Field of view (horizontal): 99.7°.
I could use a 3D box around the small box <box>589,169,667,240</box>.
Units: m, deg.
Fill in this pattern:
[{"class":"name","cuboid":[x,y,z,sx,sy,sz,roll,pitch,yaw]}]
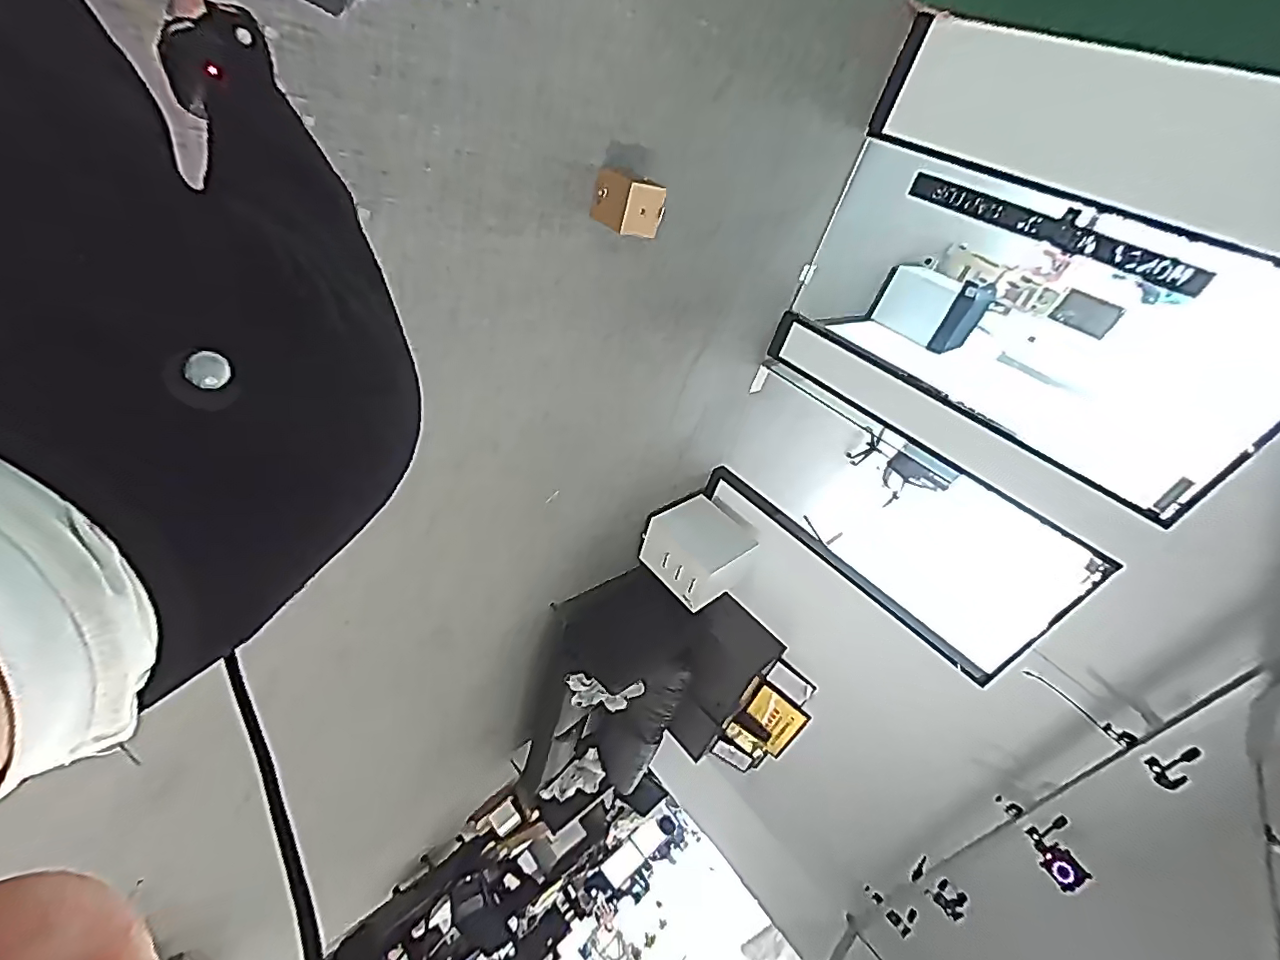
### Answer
[{"class":"small box","cuboid":[-0.043,-0.947,1.859,0.179,0.176,0.168,-16,136,-44]}]
